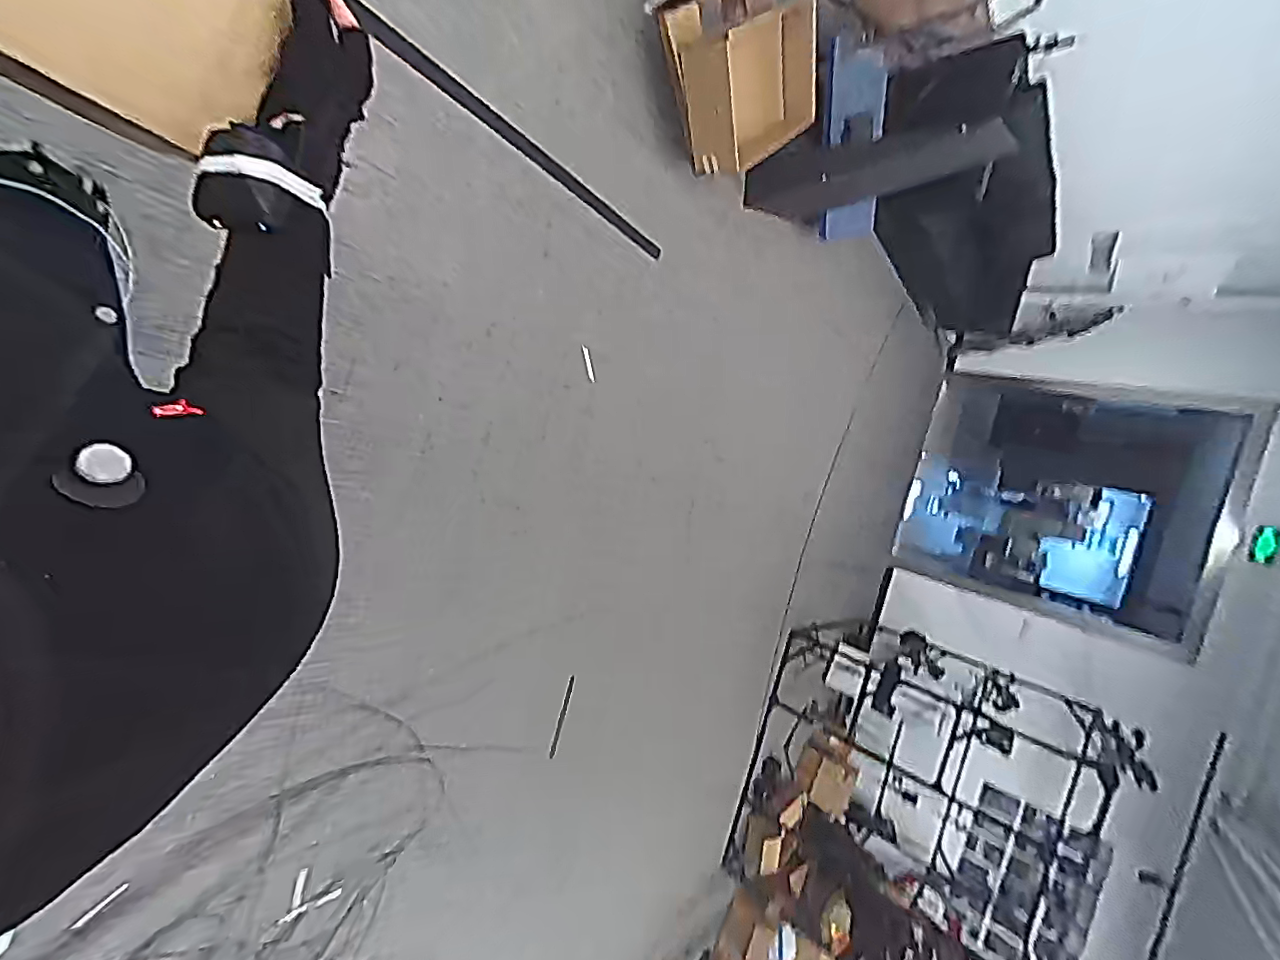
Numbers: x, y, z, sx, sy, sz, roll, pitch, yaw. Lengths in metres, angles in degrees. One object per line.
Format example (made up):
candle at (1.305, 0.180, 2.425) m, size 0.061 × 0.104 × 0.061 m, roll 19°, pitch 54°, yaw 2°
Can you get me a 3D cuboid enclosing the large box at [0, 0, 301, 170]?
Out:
large box at (-0.491, -0.484, 0.350) m, size 0.408 × 0.320 × 0.320 m, roll 15°, pitch 103°, yaw -59°
